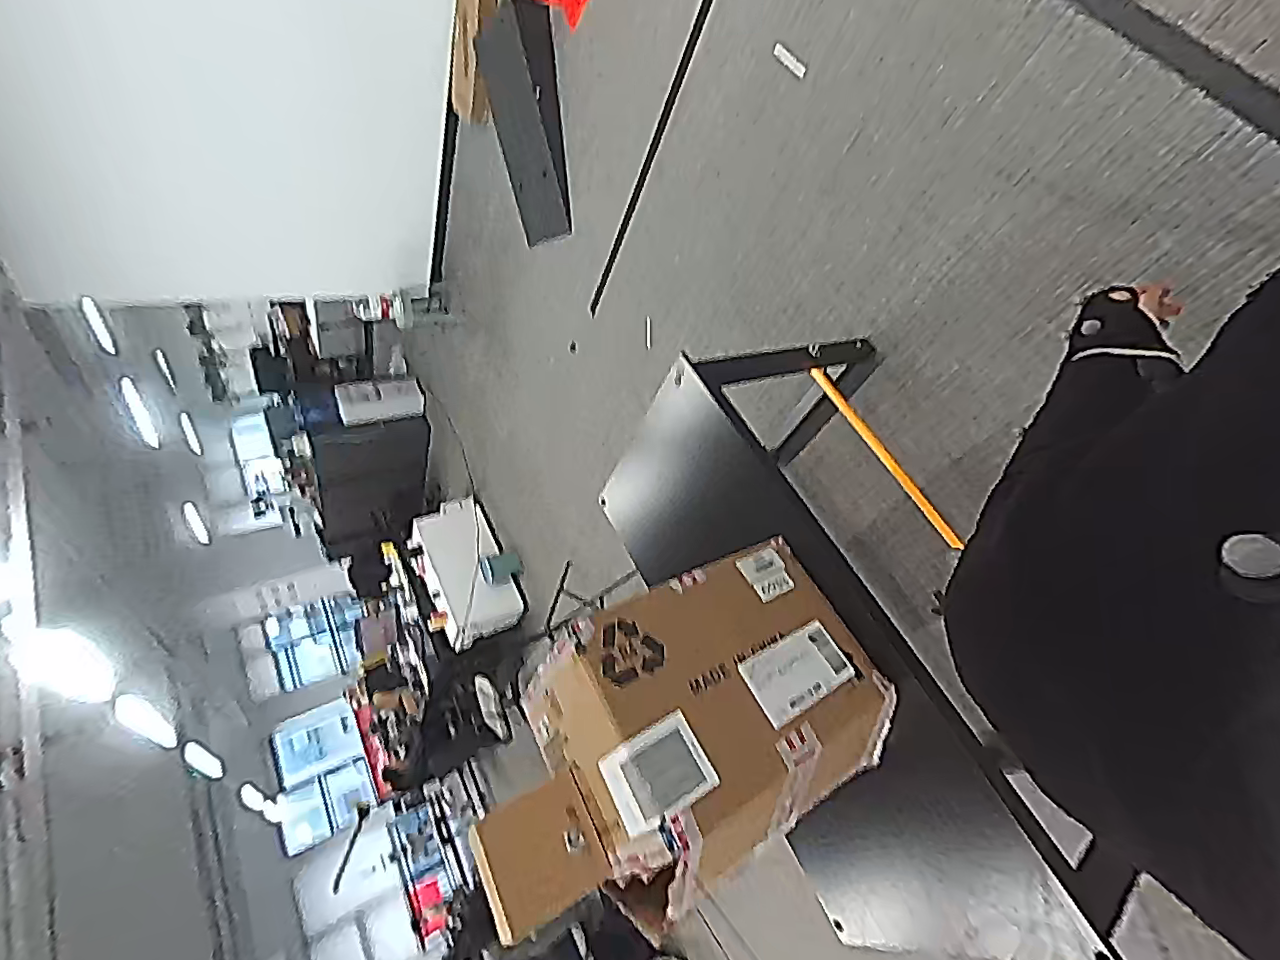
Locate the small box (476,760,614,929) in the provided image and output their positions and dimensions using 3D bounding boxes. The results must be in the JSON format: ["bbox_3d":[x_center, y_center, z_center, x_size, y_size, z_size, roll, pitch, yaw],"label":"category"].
[{"bbox_3d":[-0.161,0.602,0.898,0.168,0.176,0.179,56,144,28],"label":"small box"}]
